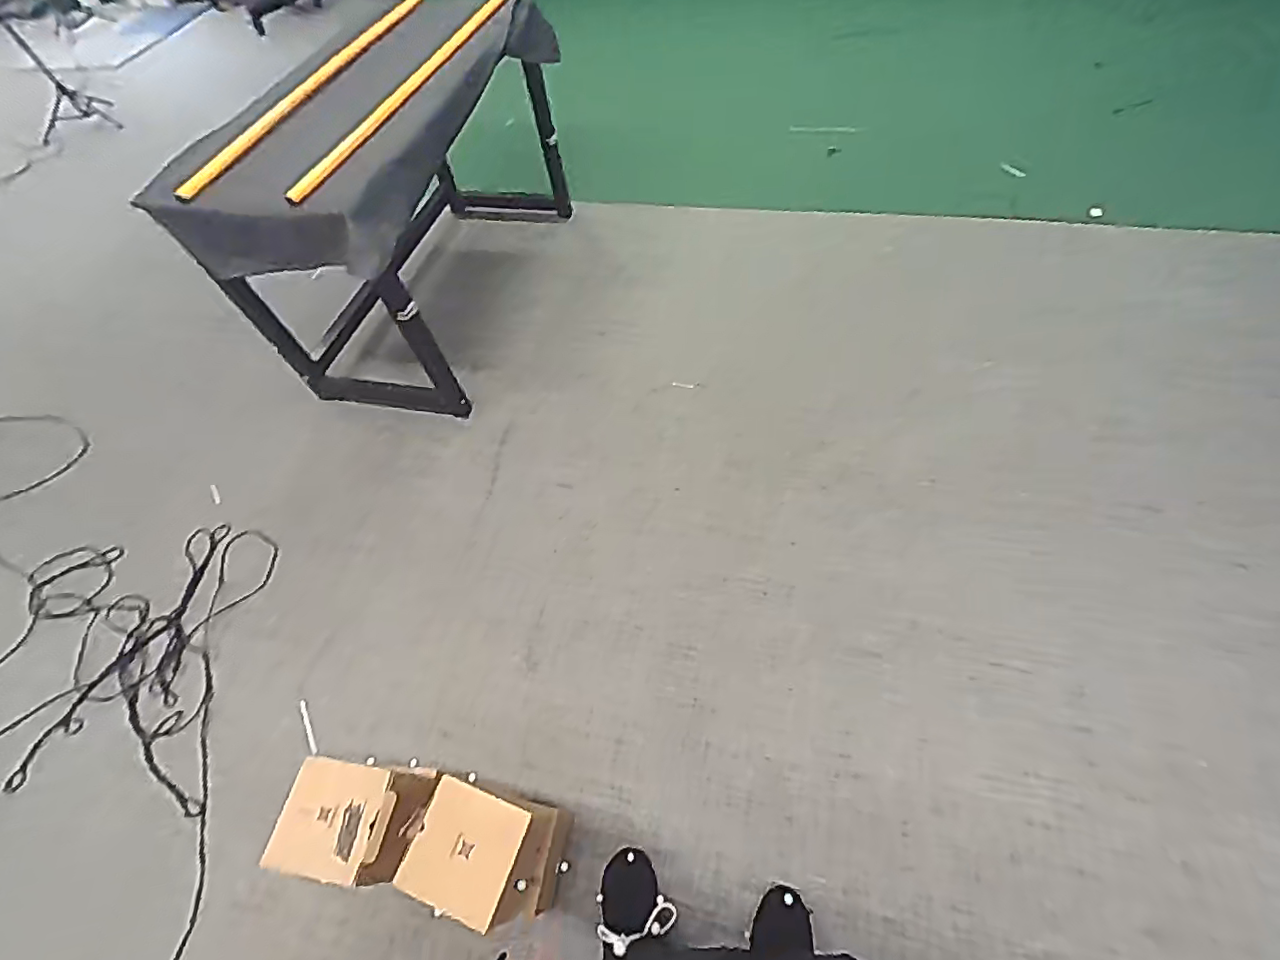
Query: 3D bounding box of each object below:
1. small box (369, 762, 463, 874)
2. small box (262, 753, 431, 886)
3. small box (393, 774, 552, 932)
[{"bbox_3d":[-0.478,0.687,1.105,0.168,0.176,0.179,0,57,8],"label":"small box"},{"bbox_3d":[-0.507,0.601,0.966,0.179,0.176,0.168,4,58,11],"label":"small box"},{"bbox_3d":[-0.271,0.625,0.928,0.179,0.176,0.168,14,61,15],"label":"small box"}]
